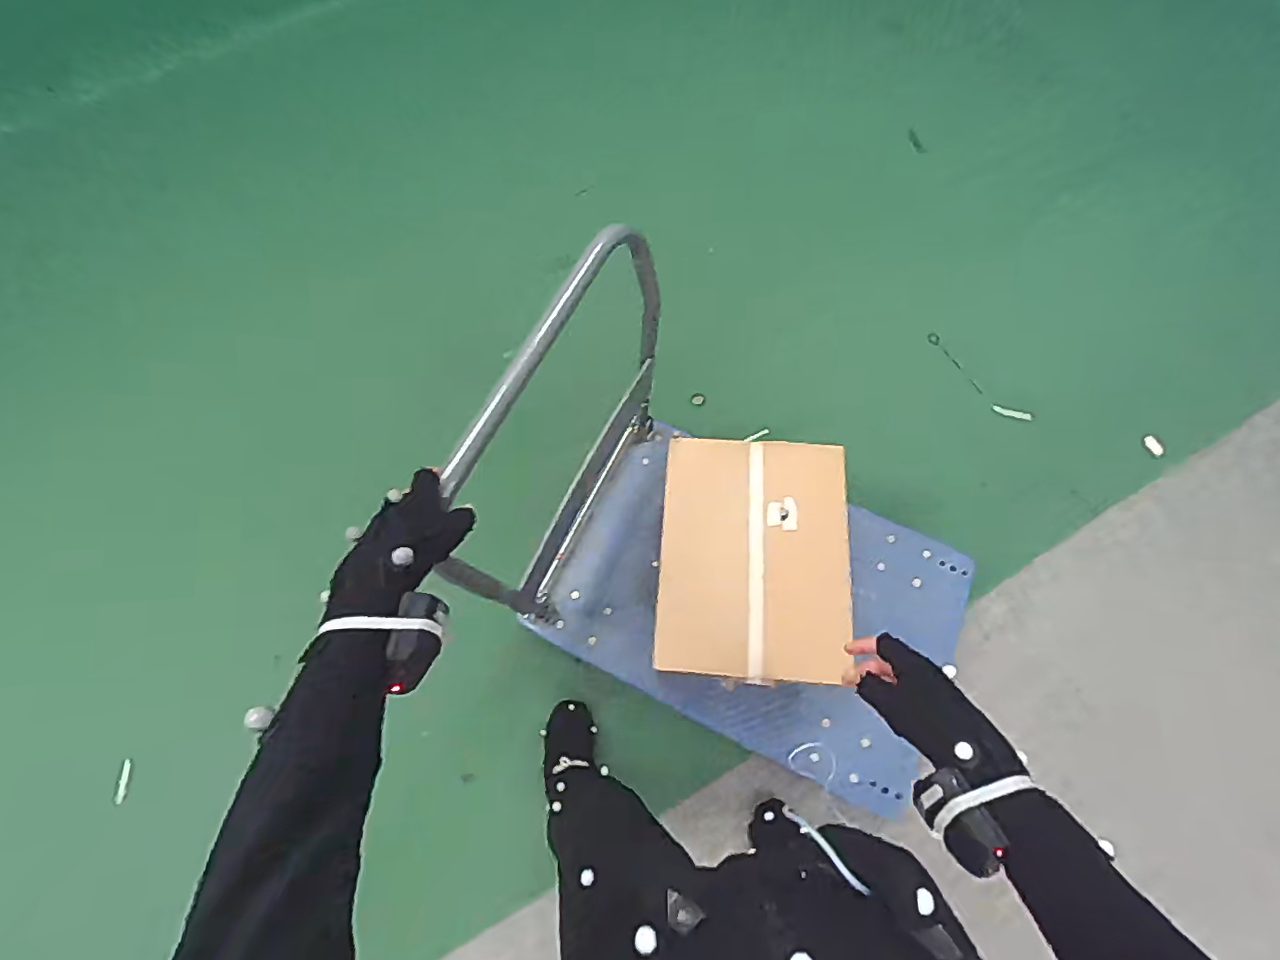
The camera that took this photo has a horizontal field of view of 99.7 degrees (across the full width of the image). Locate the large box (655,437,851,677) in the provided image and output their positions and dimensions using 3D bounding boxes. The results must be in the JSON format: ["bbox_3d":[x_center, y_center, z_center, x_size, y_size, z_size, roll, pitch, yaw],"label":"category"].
[{"bbox_3d":[0.199,0.166,1.061,0.320,0.320,0.408,4,69,4],"label":"large box"}]
